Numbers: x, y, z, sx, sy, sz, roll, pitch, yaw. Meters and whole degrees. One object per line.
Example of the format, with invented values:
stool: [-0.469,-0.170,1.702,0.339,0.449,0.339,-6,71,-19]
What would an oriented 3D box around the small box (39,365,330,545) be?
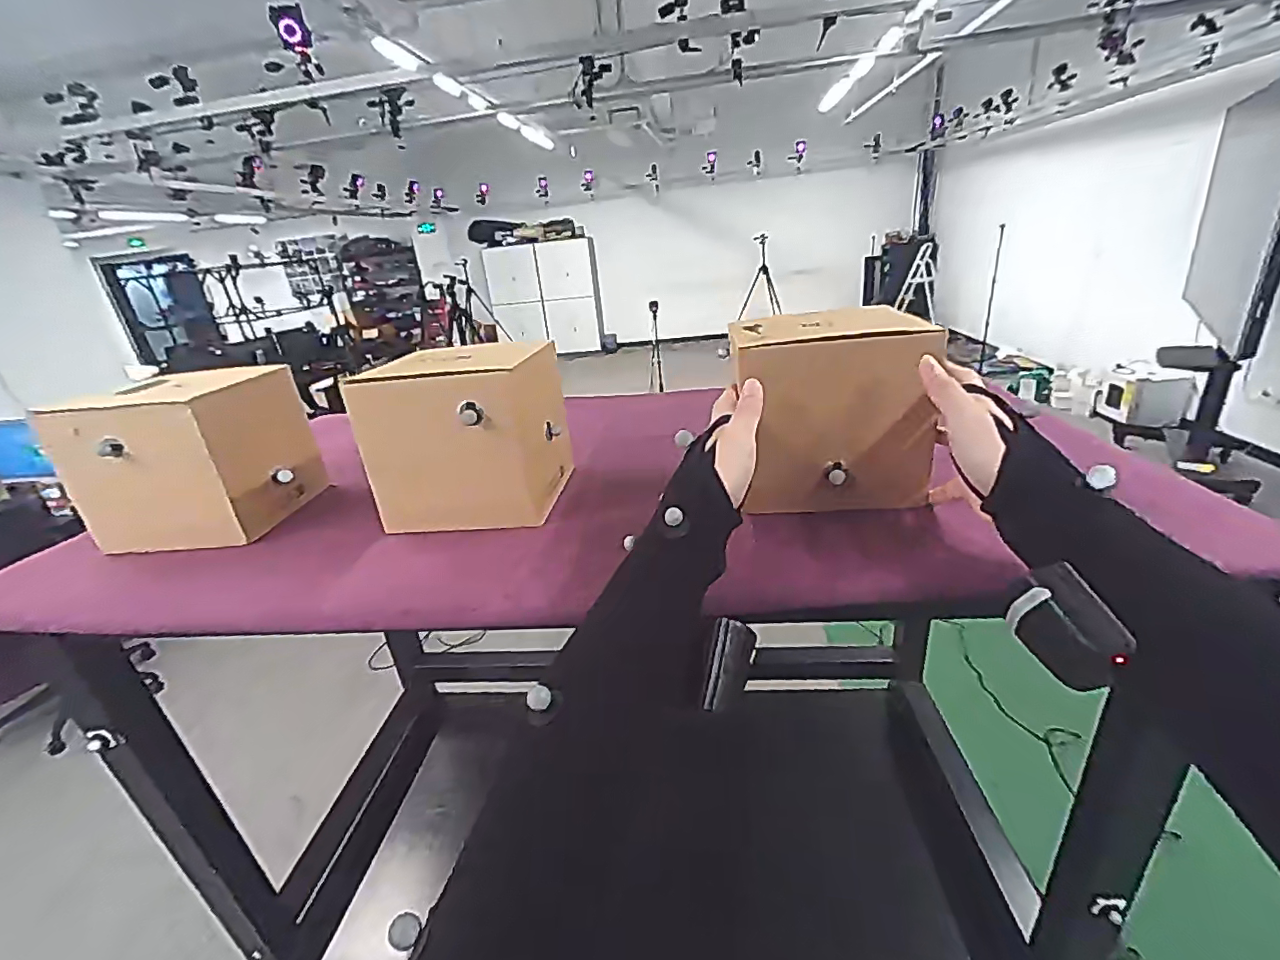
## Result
small box: [-0.516,-0.032,0.644,0.179,0.176,0.168,-3,23,4]

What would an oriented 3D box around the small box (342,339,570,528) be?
small box: [-0.187,-0.055,0.613,0.179,0.176,0.168,-3,22,8]
